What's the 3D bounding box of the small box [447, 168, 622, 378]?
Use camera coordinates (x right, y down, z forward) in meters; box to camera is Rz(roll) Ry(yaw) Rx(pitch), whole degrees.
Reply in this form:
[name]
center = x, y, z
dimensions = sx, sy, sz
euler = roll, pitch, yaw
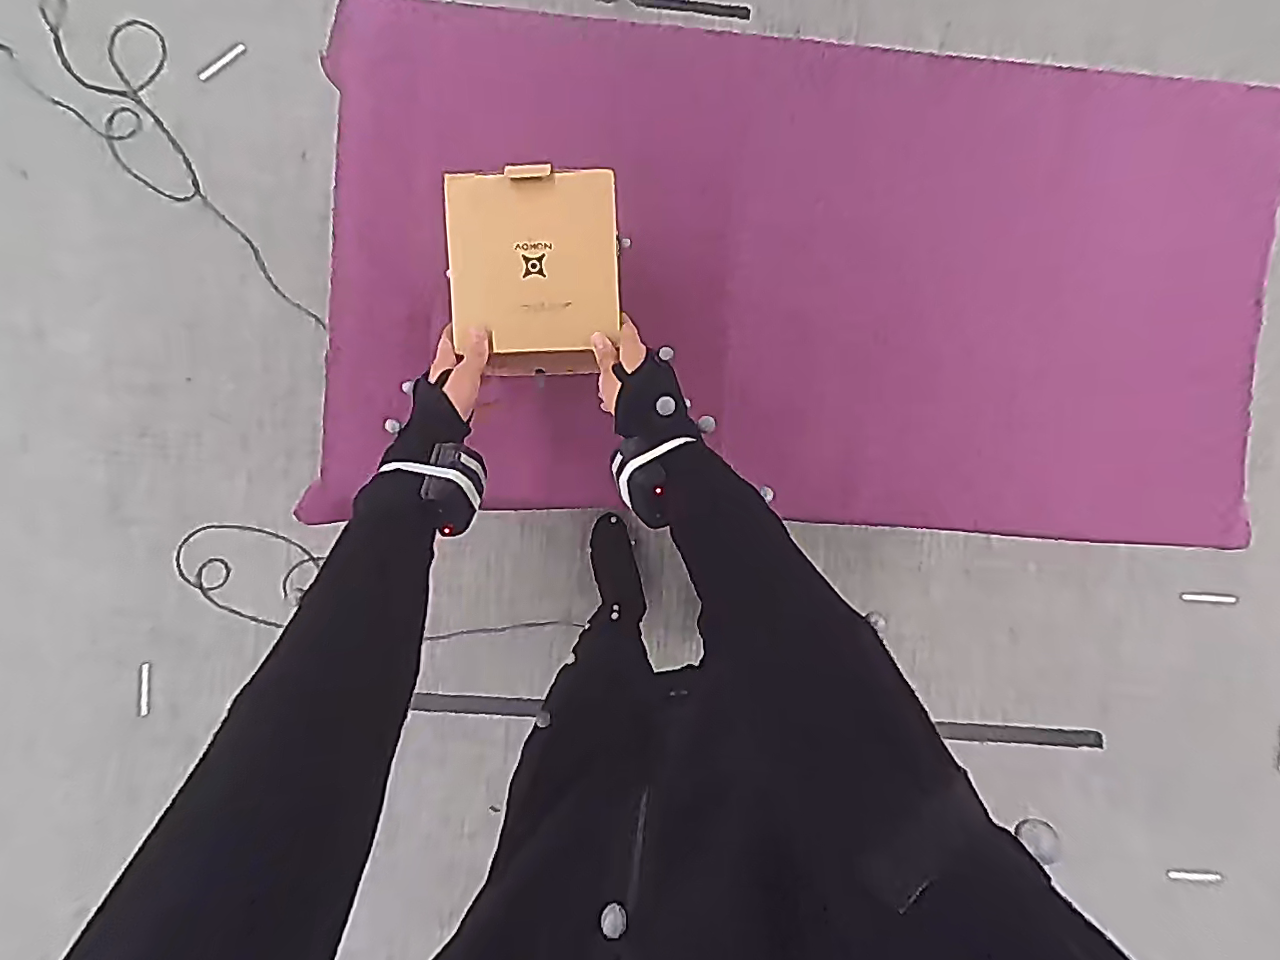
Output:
[small box]
center = -0.104, -0.214, 0.599
dimensions = 0.168, 0.176, 0.179
euler = -2, 93, -1
